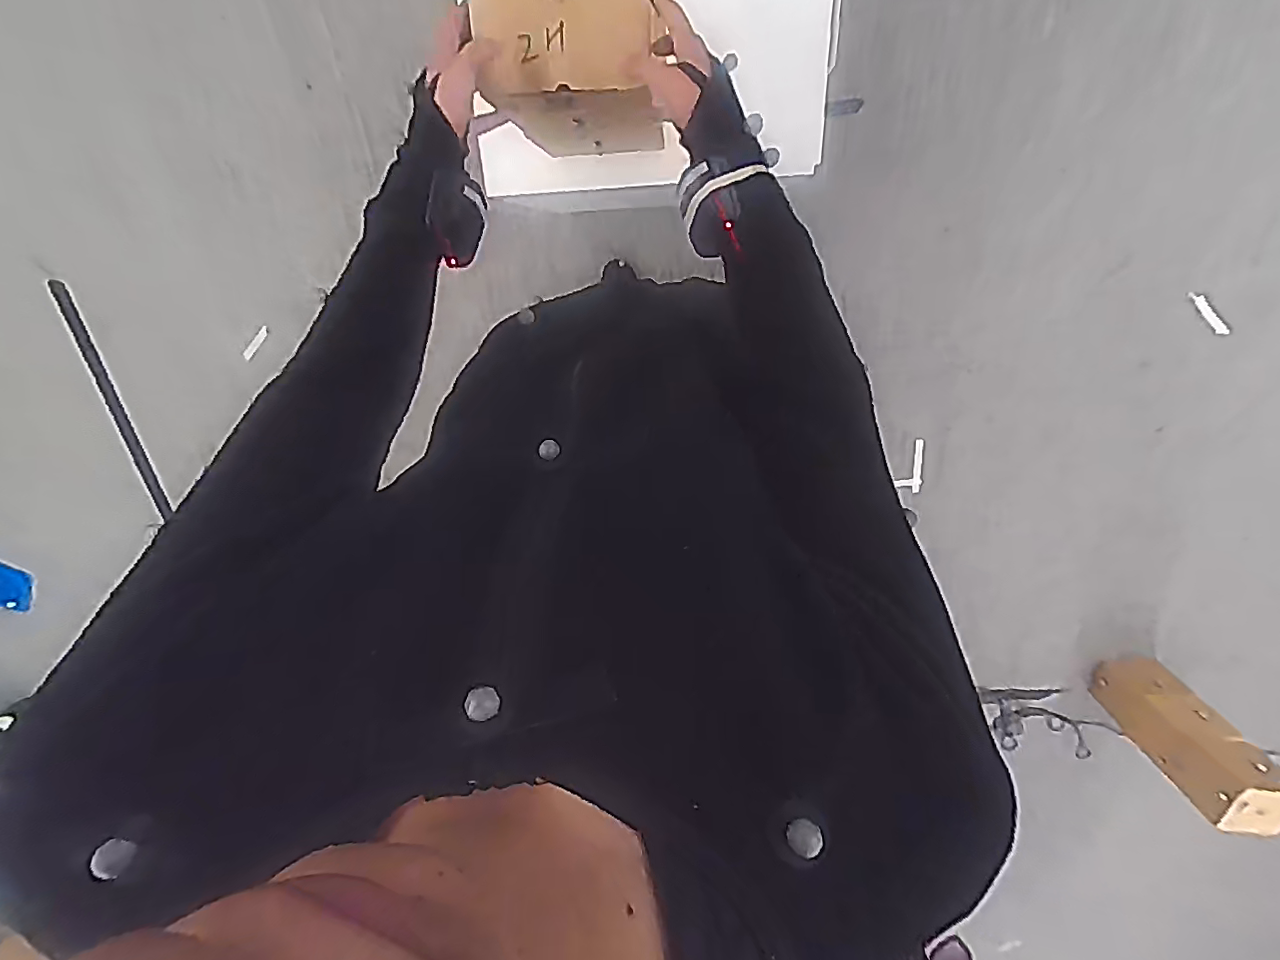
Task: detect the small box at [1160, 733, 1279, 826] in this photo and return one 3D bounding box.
[{"bbox_3d":[1.663,0.845,1.534,0.179,0.176,0.168,5,114,-1],"label":"small box"}]

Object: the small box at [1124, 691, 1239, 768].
[{"bbox_3d":[1.672,0.780,1.685,0.168,0.176,0.179,-1,114,3],"label":"small box"}]

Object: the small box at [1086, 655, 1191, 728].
[{"bbox_3d":[1.680,0.713,1.832,0.179,0.176,0.168,-2,114,4],"label":"small box"}]

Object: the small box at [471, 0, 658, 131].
[{"bbox_3d":[-0.068,-0.478,0.554,0.168,0.176,0.179,1,113,4],"label":"small box"}]
